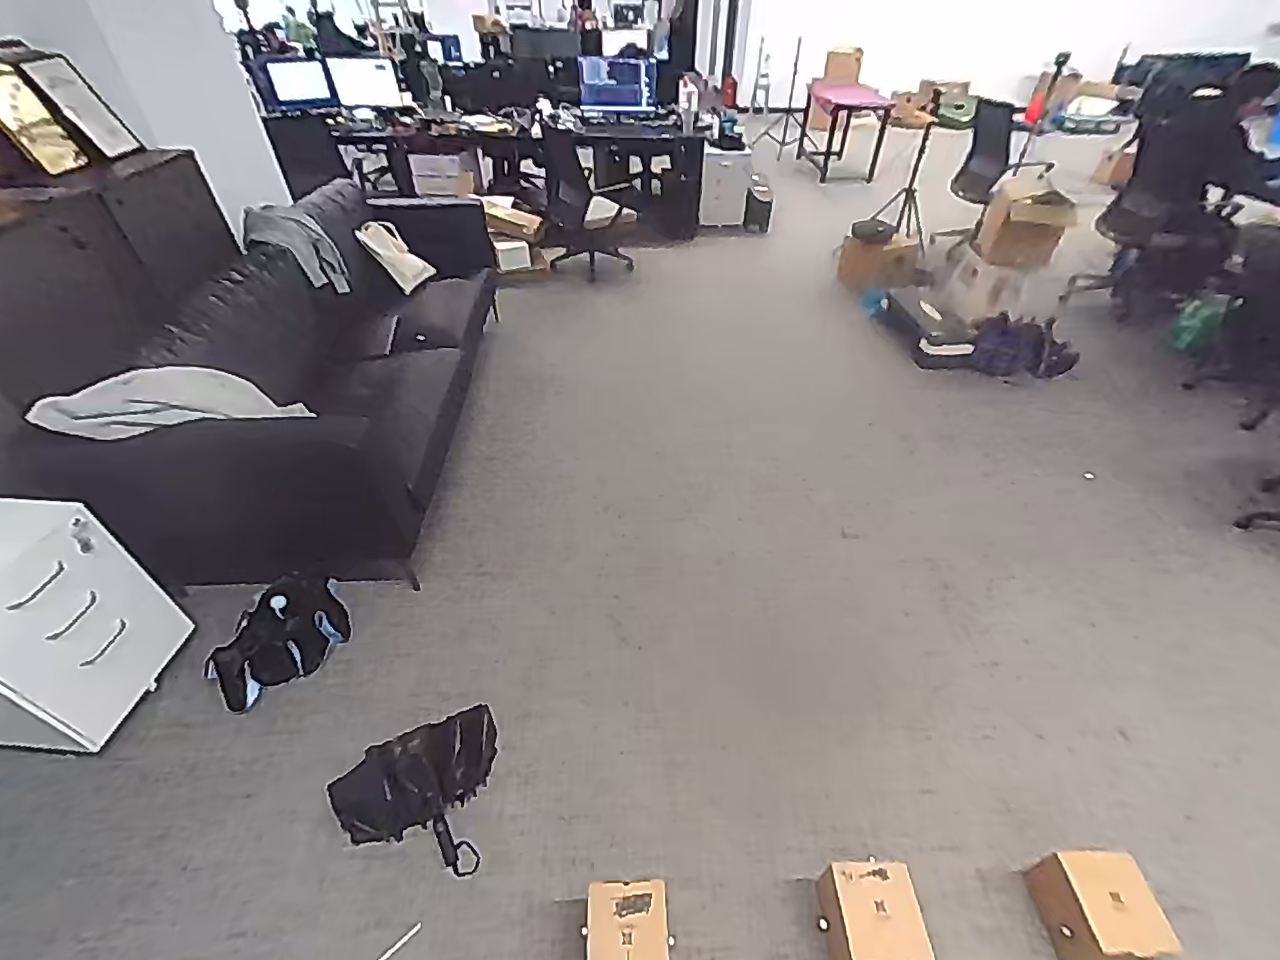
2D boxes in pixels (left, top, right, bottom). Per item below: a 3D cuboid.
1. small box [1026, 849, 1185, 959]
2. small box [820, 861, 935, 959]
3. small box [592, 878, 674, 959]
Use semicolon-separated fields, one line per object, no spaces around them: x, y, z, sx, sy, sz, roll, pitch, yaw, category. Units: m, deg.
1.008;0.939;1.190;0.168;0.176;0.179;0;41;0;small box
0.508;0.957;1.181;0.168;0.176;0.179;0;42;1;small box
-0.015;0.983;1.161;0.168;0.176;0.179;-2;43;-1;small box
